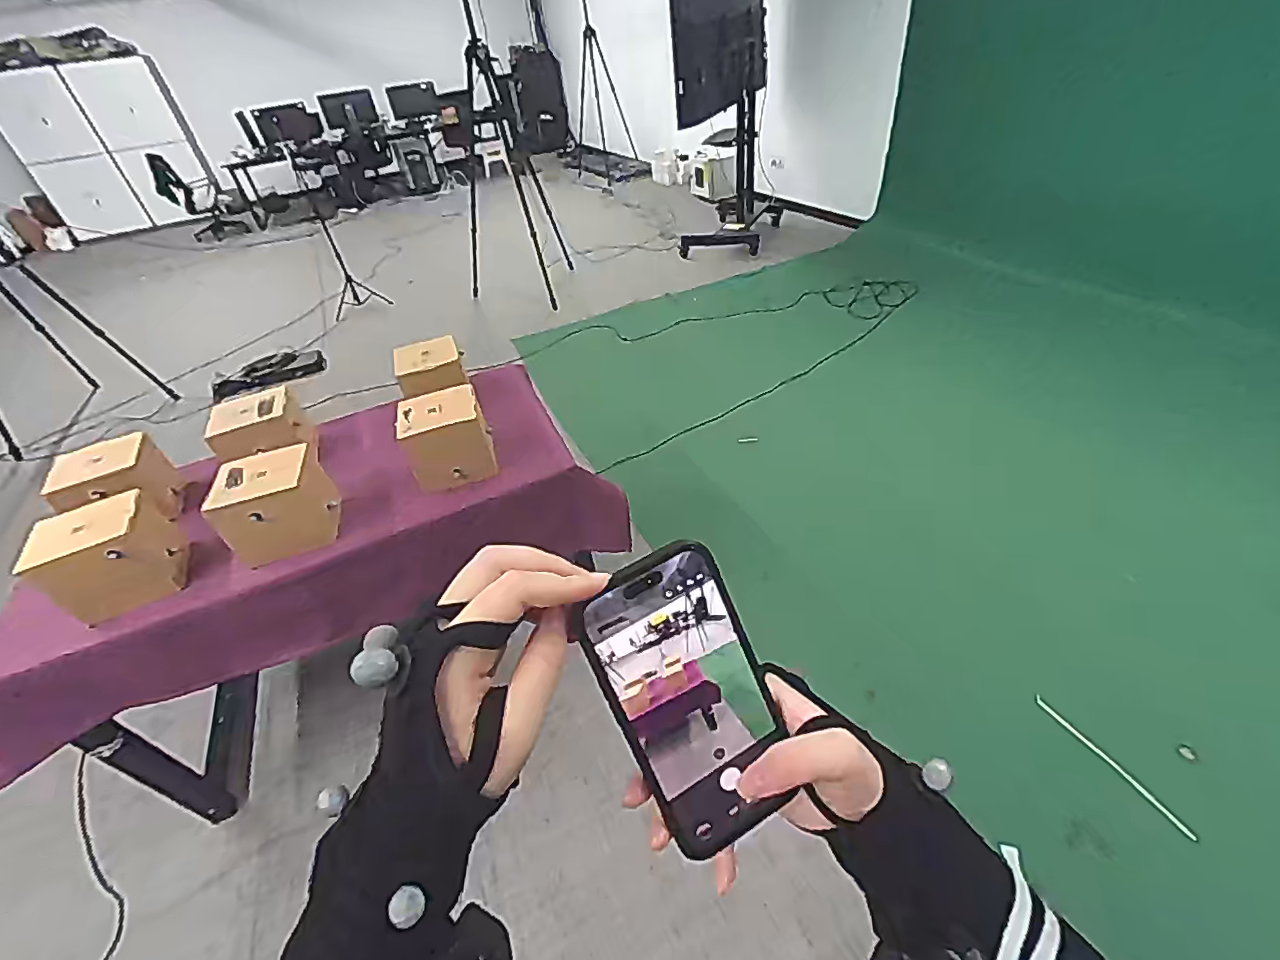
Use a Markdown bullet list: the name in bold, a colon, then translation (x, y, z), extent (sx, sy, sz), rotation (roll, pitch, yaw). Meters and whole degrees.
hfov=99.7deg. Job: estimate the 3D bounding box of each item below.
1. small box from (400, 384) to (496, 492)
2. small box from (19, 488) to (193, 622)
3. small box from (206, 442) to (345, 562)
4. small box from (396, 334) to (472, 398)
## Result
- **small box**: translation (-0.446, -0.099, 1.275), extent (0.179, 0.176, 0.168), rotation (-16, 40, -10)
- **small box**: translation (-1.053, 0.152, 1.085), extent (0.179, 0.176, 0.168), rotation (-24, 42, -20)
- **small box**: translation (-0.765, 0.049, 1.155), extent (0.179, 0.176, 0.168), rotation (-17, 41, -11)
- **small box**: translation (-0.563, -0.278, 1.504), extent (0.168, 0.176, 0.179), rotation (-19, 42, -12)
